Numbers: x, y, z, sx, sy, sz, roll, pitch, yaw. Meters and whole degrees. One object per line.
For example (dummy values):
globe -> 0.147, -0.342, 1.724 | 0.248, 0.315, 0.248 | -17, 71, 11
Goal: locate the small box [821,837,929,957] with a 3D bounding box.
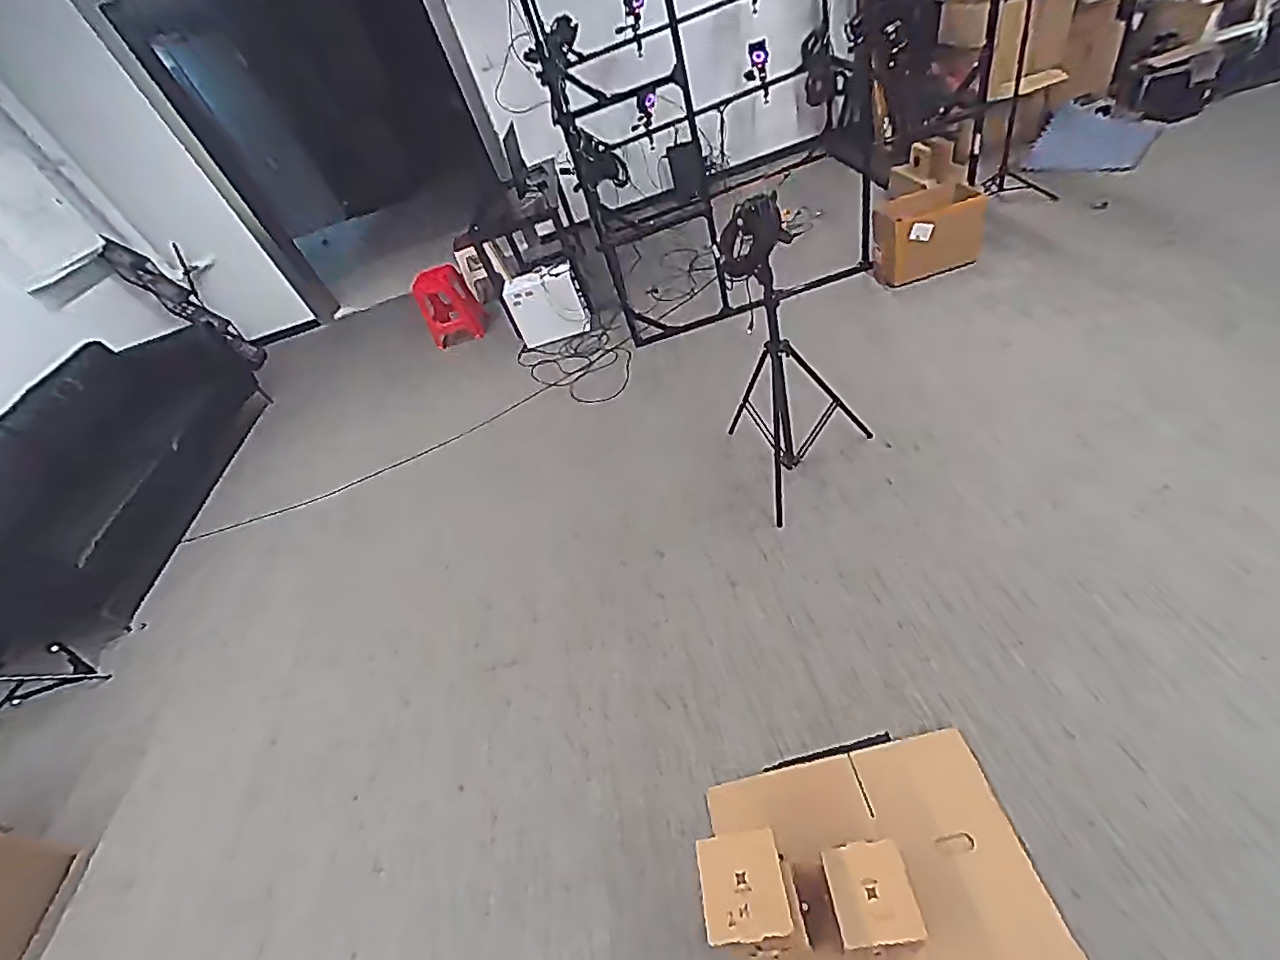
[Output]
small box -> 0.500, 0.907, 1.175 | 0.168, 0.176, 0.179 | -14, 43, 8

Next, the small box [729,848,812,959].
small box -> 0.279, 0.958, 1.216 | 0.168, 0.176, 0.179 | -16, 44, 8

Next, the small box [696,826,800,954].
small box -> 0.221, 0.844, 1.111 | 0.168, 0.176, 0.179 | -16, 43, 9
